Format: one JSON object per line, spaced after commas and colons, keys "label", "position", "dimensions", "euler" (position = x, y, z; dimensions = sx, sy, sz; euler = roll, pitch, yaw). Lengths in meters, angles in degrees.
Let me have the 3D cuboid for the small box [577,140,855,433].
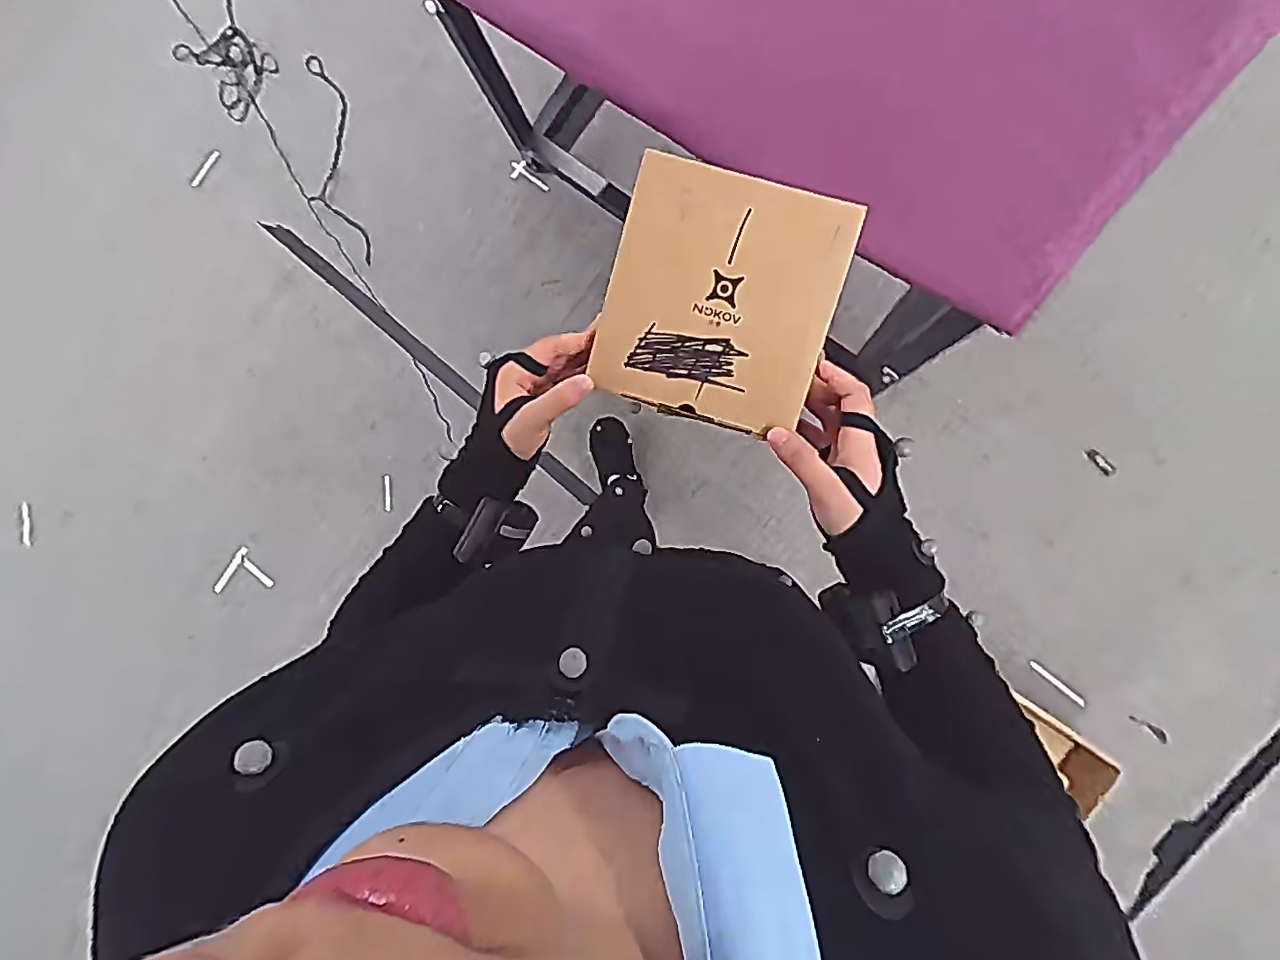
{"label": "small box", "position": [0.059, -0.149, 0.474], "dimensions": [0.168, 0.176, 0.179], "euler": [16, 98, 2]}
